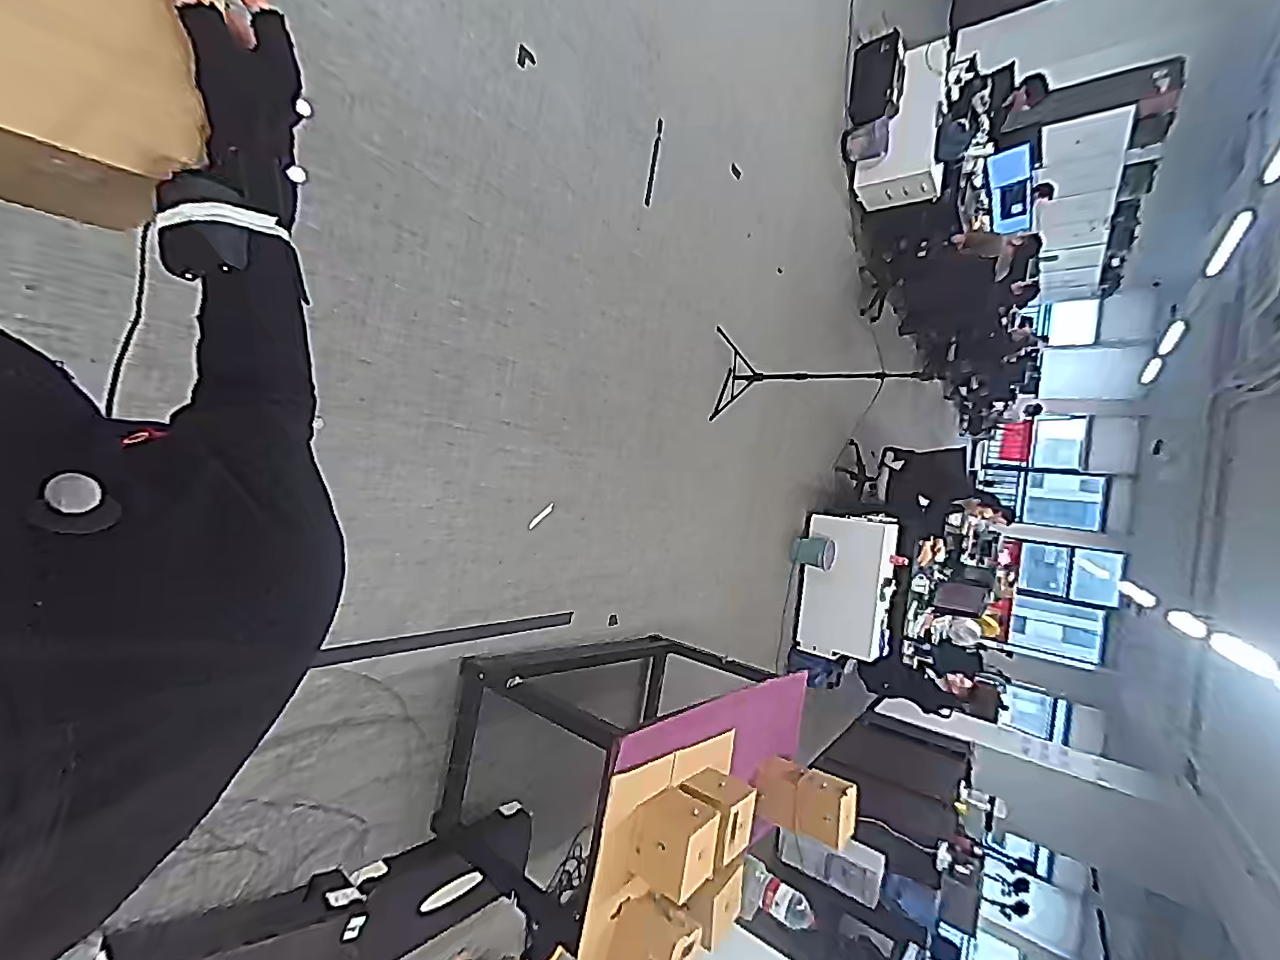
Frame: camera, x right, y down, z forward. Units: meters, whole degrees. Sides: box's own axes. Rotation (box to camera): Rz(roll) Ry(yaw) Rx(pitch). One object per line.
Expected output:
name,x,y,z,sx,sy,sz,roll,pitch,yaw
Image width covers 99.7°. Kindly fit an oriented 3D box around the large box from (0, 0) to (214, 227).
large box,-0.569,-0.405,0.350,0.408,0.320,0.320,1,100,-53
